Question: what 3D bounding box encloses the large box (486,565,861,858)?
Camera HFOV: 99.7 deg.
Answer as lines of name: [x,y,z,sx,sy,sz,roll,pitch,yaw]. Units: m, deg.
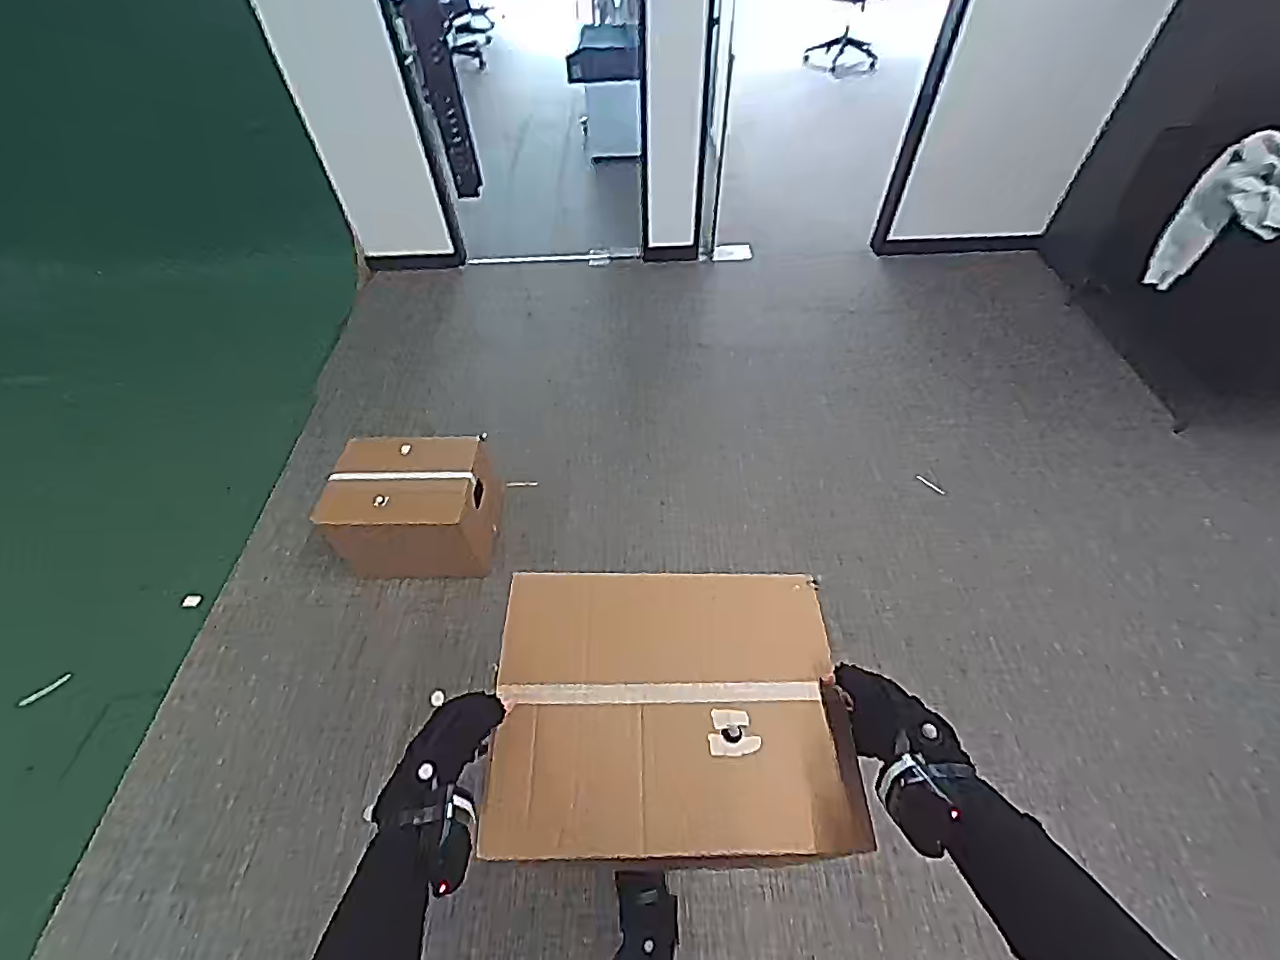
large box: [0.023,0.330,0.764,0.408,0.320,0.320,1,53,-4]
